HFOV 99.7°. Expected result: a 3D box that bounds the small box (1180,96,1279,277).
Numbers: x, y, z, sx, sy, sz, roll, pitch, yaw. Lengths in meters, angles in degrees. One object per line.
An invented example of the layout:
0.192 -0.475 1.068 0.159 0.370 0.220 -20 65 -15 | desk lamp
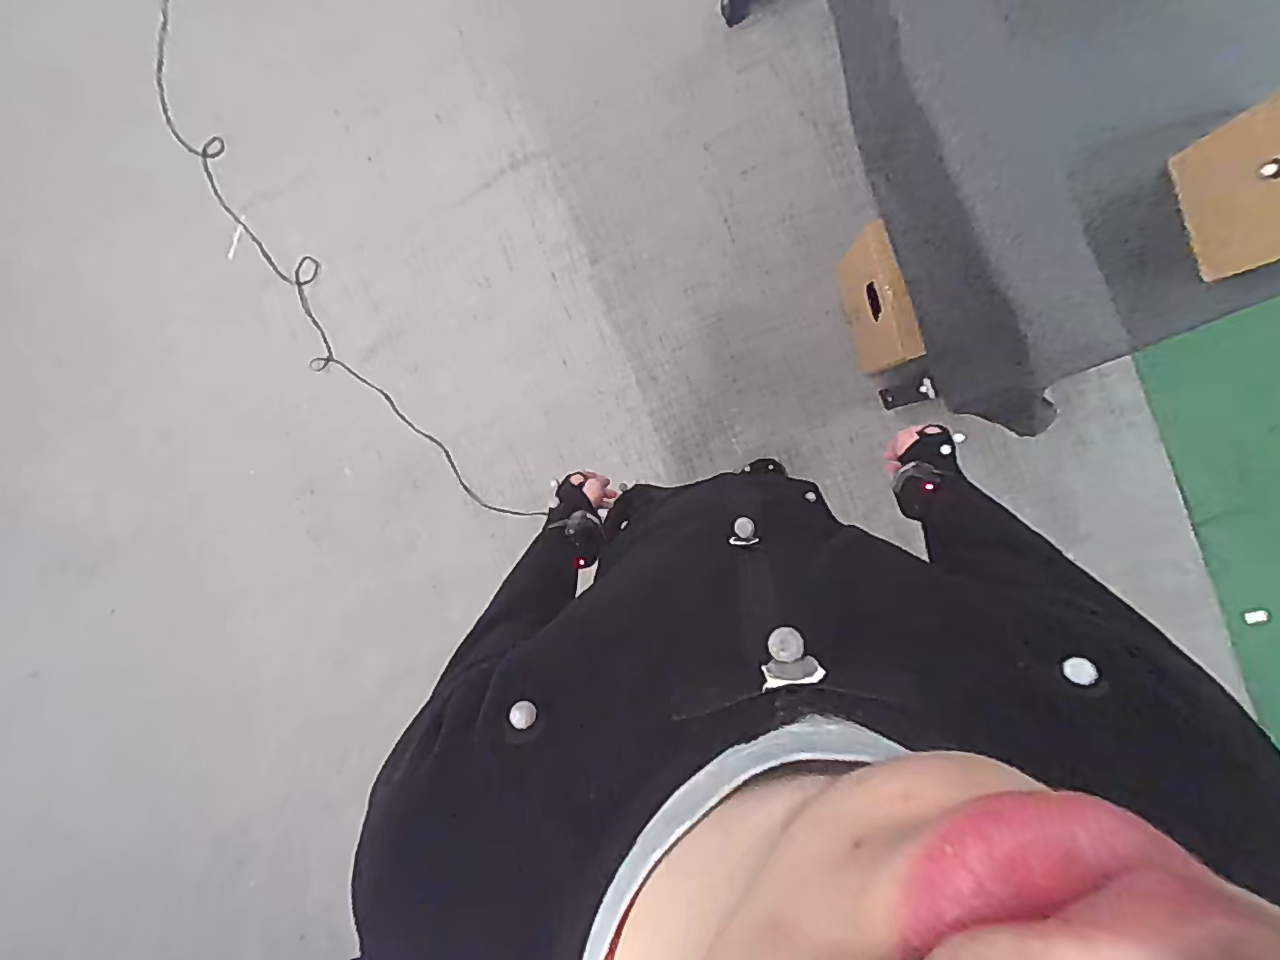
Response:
0.802 -0.368 0.633 0.168 0.176 0.179 -18 92 8 | small box
